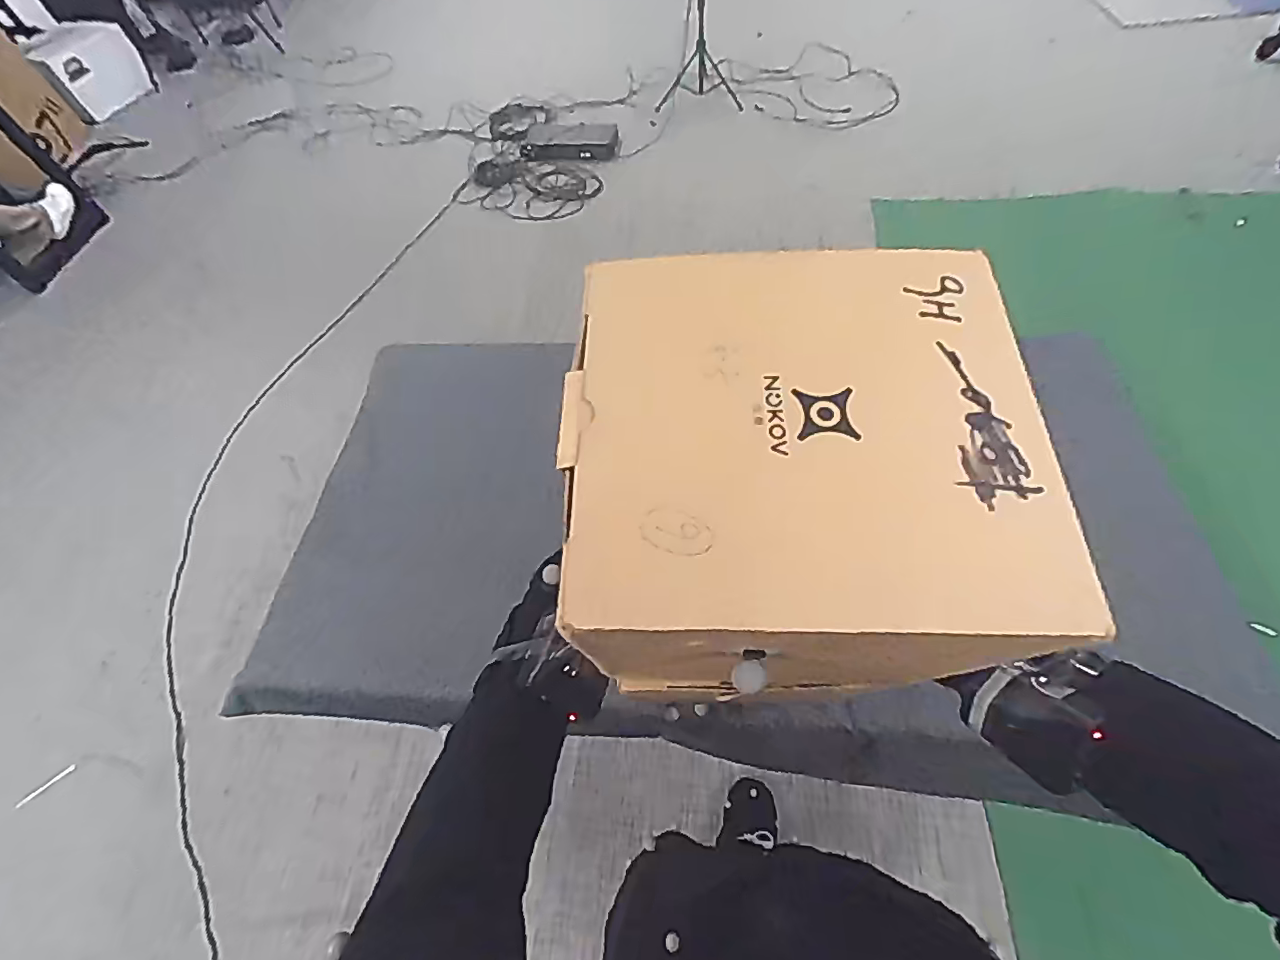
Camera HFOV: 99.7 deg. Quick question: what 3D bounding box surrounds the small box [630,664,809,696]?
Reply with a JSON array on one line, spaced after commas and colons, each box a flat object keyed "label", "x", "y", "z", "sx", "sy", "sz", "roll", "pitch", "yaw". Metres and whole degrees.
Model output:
[{"label": "small box", "x": 0.079, "y": 0.135, "z": 0.593, "sx": 0.168, "sy": 0.176, "sz": 0.179, "roll": 1, "pitch": 66, "yaw": 5}]

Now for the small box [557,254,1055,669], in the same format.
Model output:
[{"label": "small box", "x": 0.060, "y": 0.005, "z": 0.295, "sx": 0.179, "sy": 0.176, "sz": 0.168, "roll": -2, "pitch": 63, "yaw": 2}]
